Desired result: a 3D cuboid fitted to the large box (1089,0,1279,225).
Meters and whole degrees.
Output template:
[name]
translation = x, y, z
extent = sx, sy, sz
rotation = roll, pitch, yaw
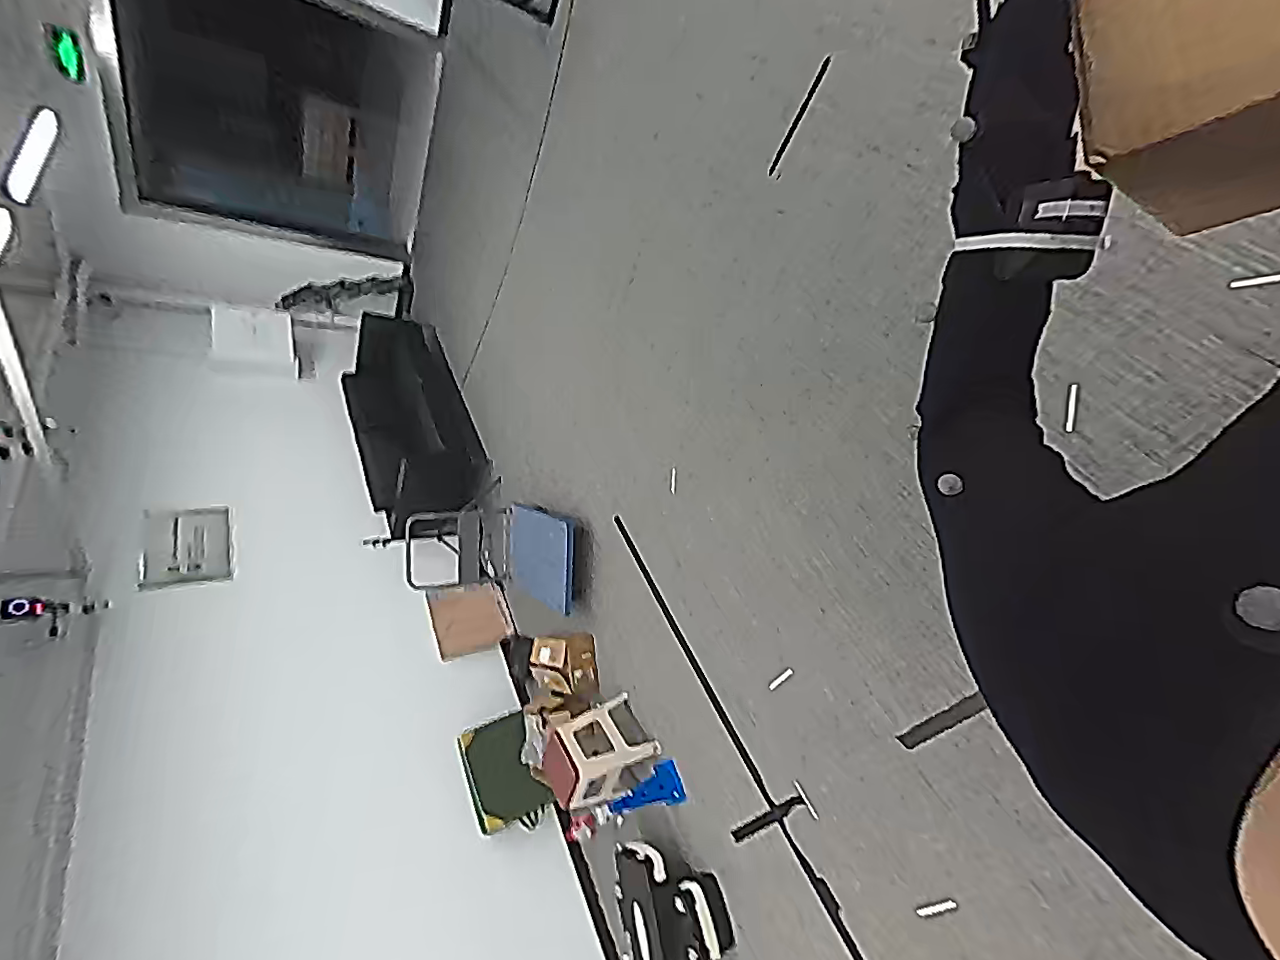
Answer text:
[large box]
translation = 0.537, -0.402, 0.301
extent = 0.408, 0.320, 0.320
rotation = -4, 93, 53
